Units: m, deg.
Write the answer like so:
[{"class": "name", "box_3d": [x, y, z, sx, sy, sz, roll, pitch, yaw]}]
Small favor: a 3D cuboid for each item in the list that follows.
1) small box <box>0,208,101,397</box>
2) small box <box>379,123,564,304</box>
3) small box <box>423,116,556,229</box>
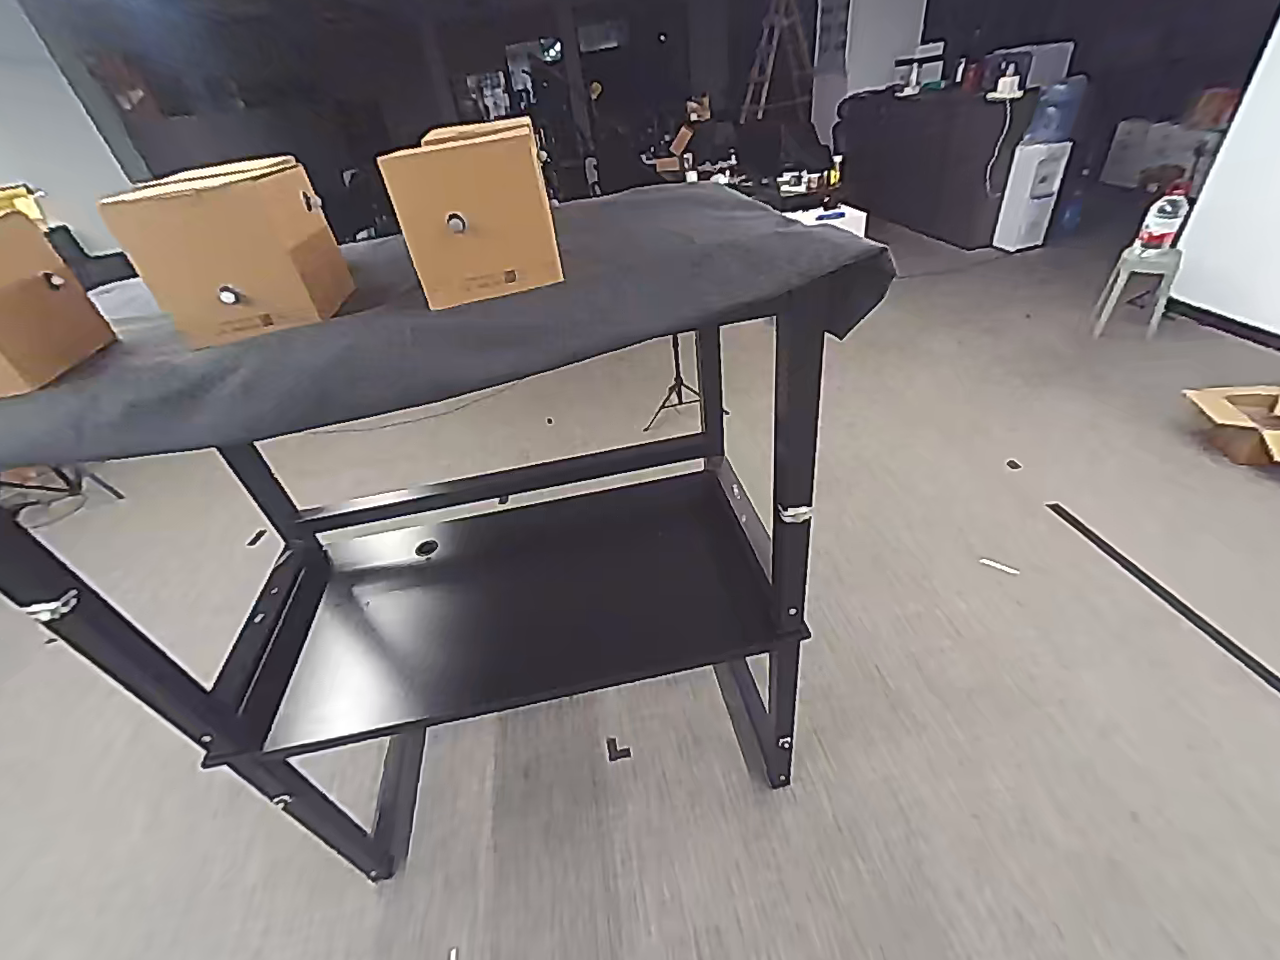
[{"class": "small box", "box_3d": [-0.790, -0.194, 0.617, 0.168, 0.176, 0.179, -13, 37, -5]}, {"class": "small box", "box_3d": [-0.194, -0.330, 0.675, 0.168, 0.176, 0.179, -12, 35, -4]}, {"class": "small box", "box_3d": [-0.238, -0.491, 0.897, 0.168, 0.176, 0.179, -12, 37, -4]}]
